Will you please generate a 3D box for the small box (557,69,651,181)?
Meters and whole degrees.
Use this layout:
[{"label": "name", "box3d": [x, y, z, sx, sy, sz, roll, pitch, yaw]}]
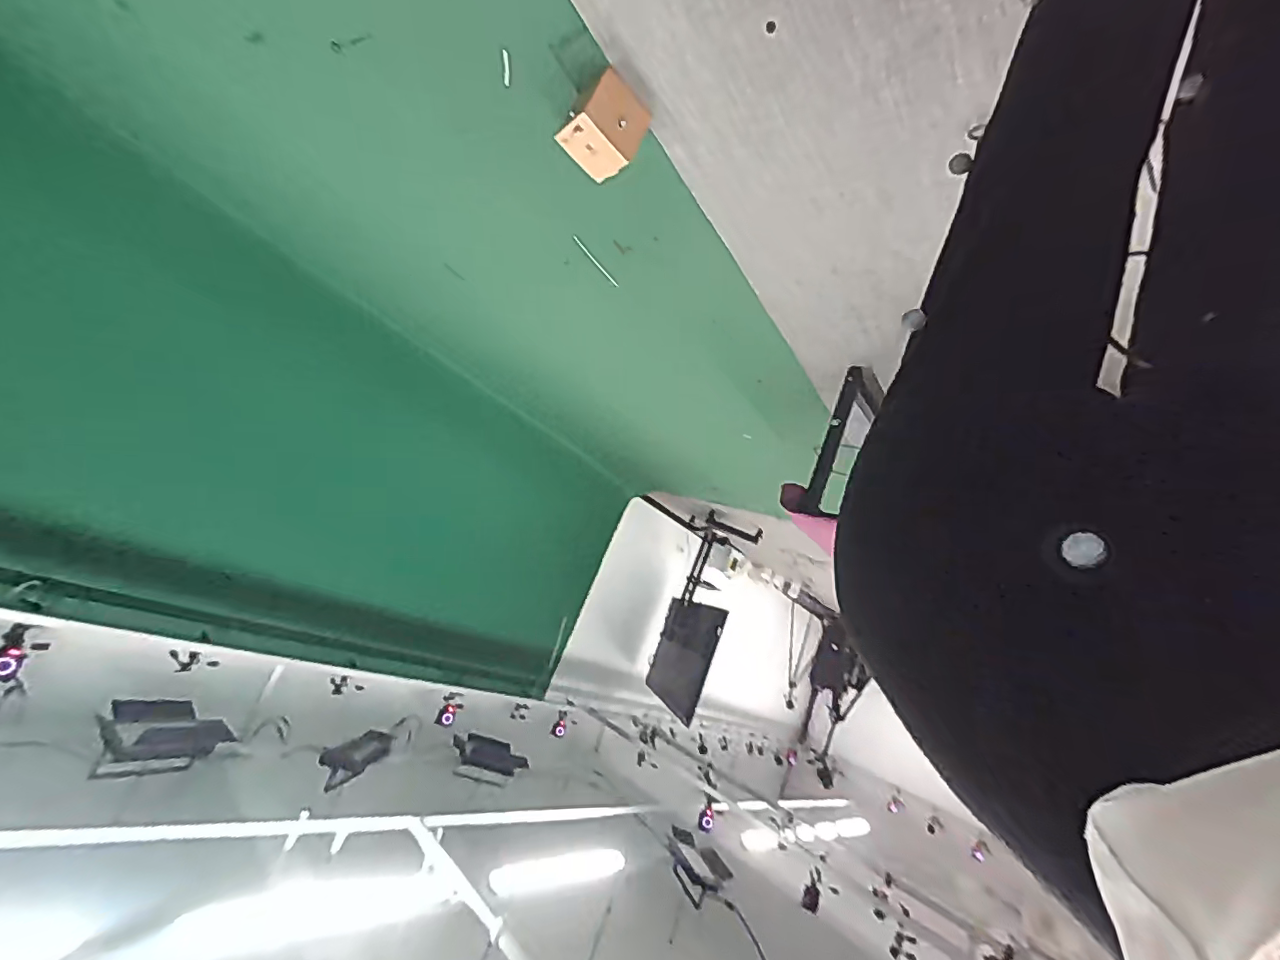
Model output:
[{"label": "small box", "box3d": [-0.097, -1.004, 1.537, 0.179, 0.176, 0.168, 32, 165, -35]}]
